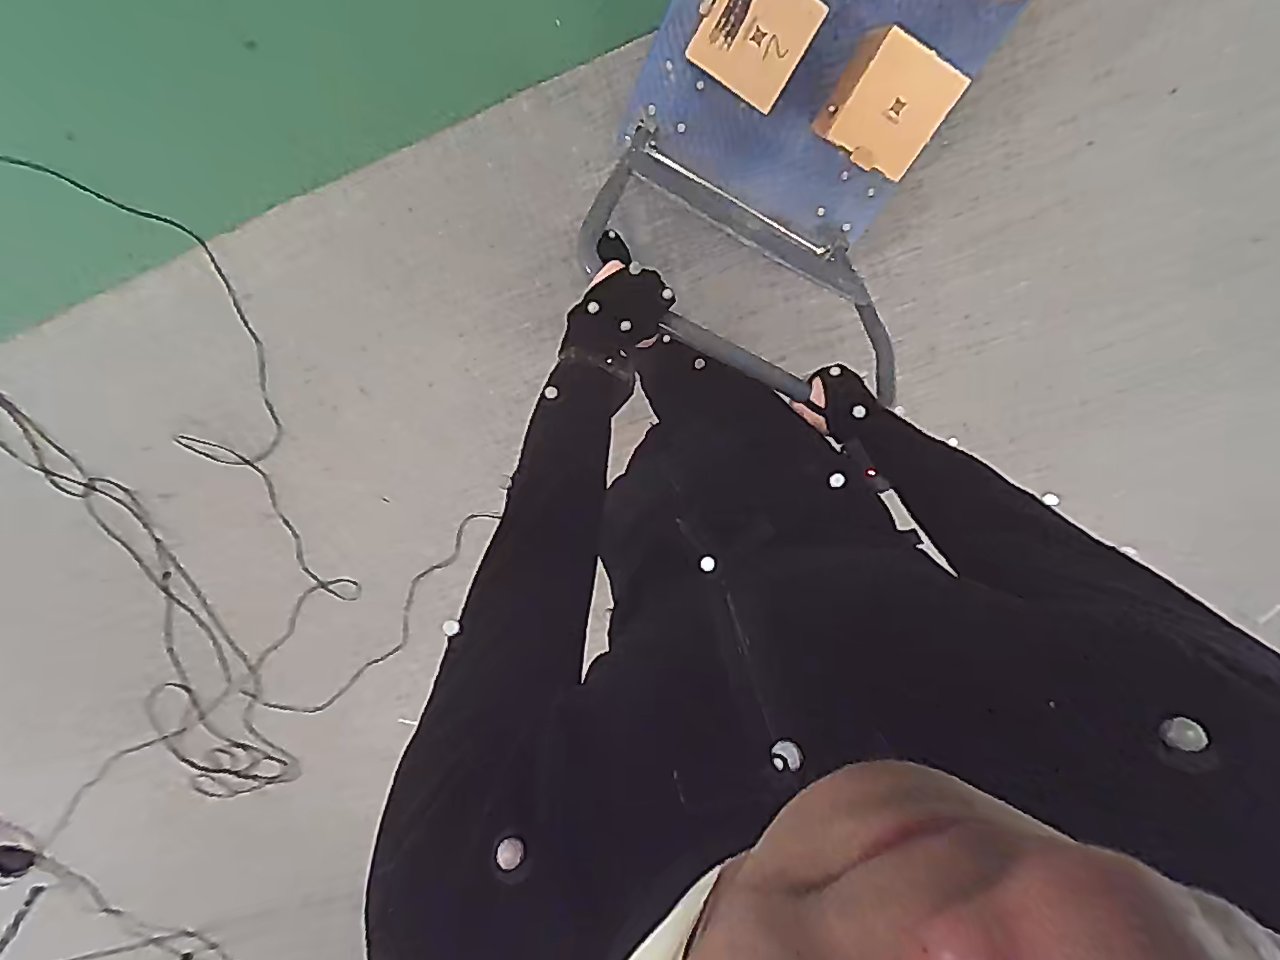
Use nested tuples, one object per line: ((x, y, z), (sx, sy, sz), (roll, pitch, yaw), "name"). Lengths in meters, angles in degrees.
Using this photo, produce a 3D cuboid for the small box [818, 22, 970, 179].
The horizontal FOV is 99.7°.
((0.452, -0.698, 0.998), (0.168, 0.176, 0.179), (24, 127, -12), "small box")
